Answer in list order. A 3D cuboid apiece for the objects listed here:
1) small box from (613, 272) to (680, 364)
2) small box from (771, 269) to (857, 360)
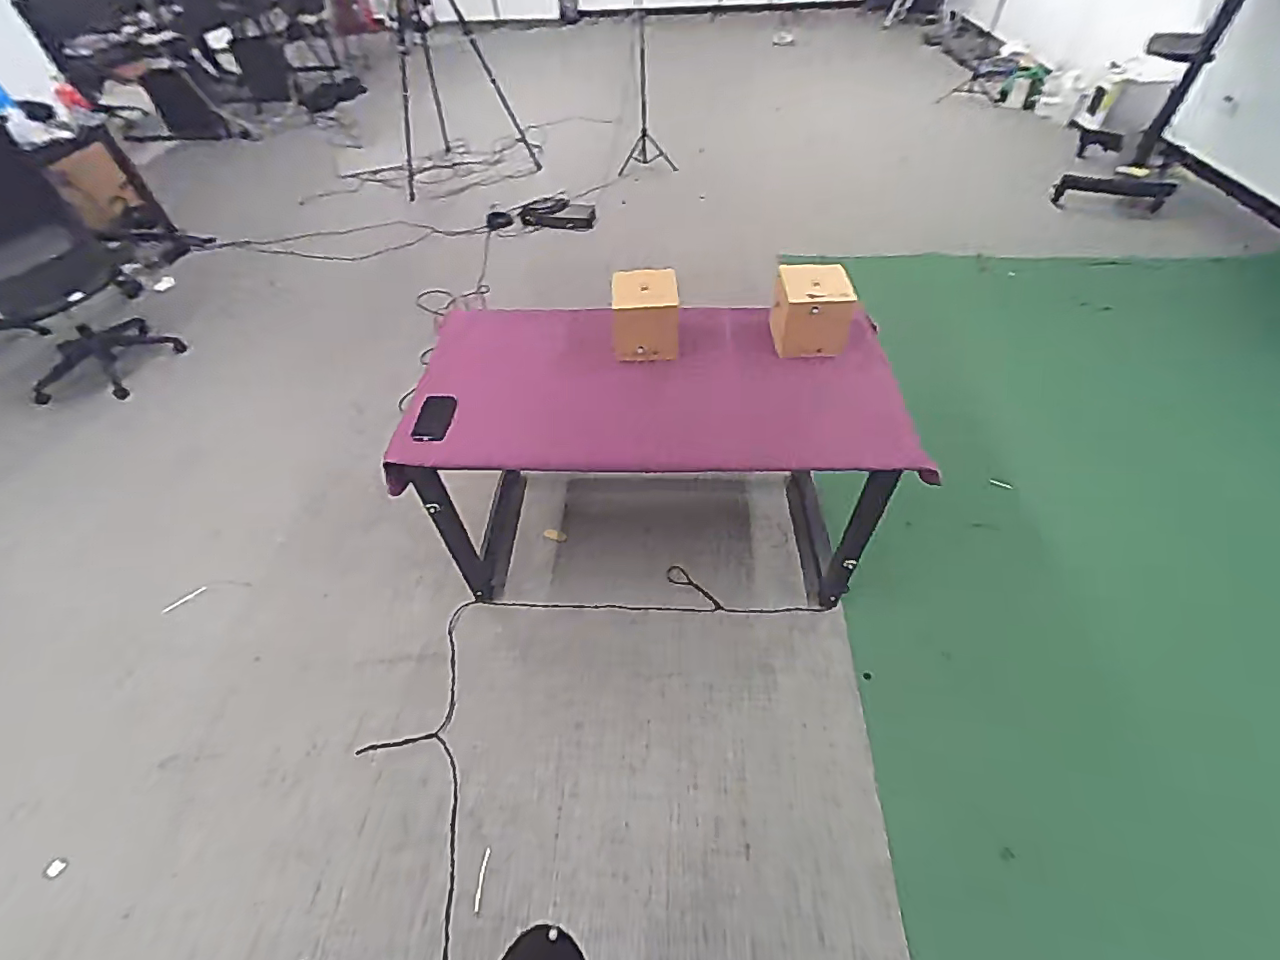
[{"bbox_3d":[0.017,-0.428,1.433,0.168,0.176,0.179,-2,50,1],"label":"small box"},{"bbox_3d":[0.447,-0.433,1.418,0.168,0.176,0.179,-1,49,2],"label":"small box"}]
